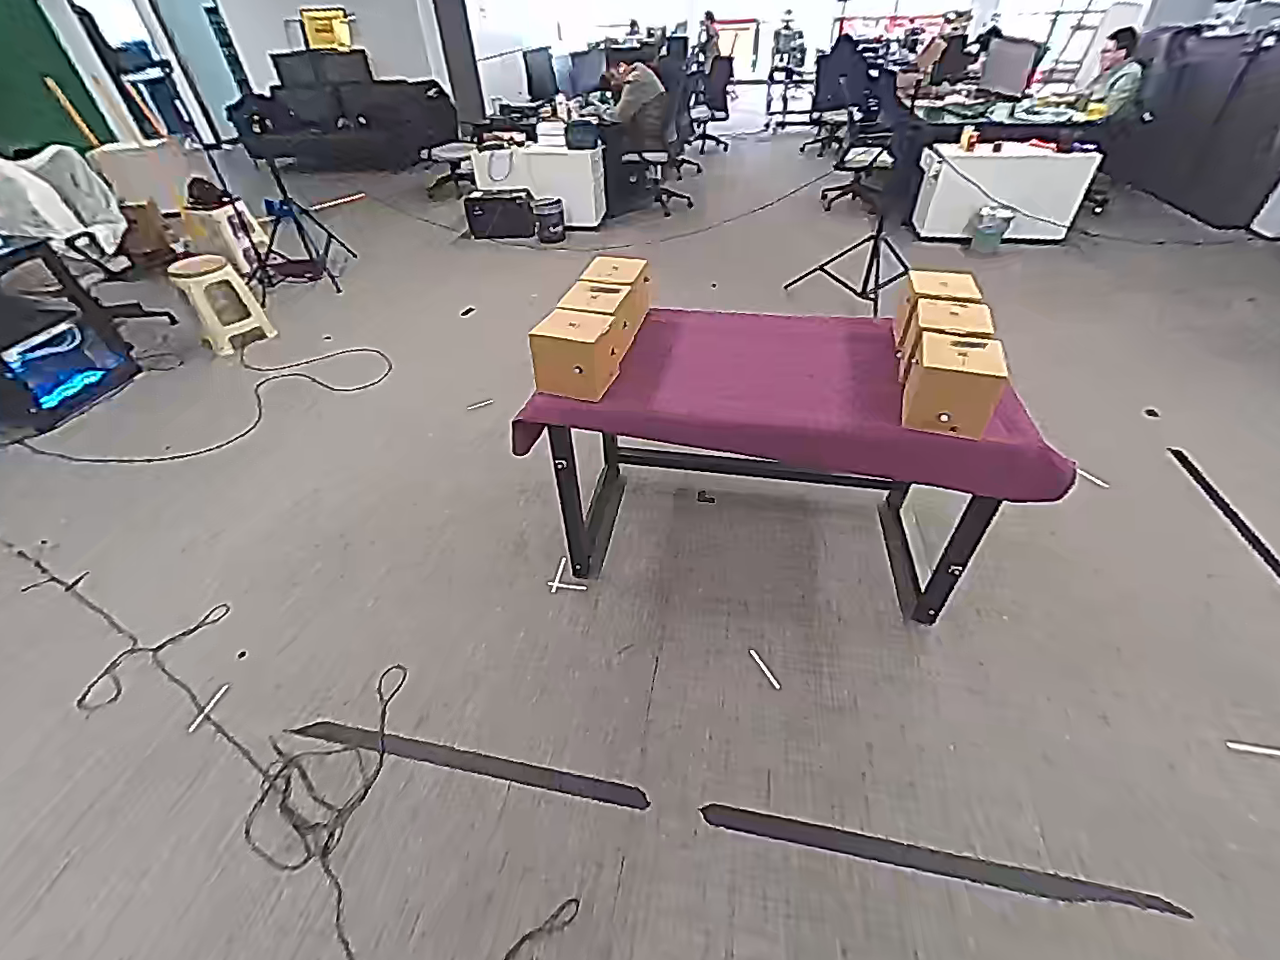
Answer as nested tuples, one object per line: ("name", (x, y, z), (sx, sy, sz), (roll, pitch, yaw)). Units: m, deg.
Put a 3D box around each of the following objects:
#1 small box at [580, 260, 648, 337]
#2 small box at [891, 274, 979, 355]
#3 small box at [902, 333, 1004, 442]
("small box", (-0.076, -0.565, 1.680), (0.168, 0.176, 0.179), (9, 44, 12))
("small box", (0.826, -0.465, 1.534), (0.168, 0.176, 0.179), (9, 42, 12))
("small box", (0.722, -0.217, 1.258), (0.168, 0.176, 0.179), (13, 47, 20))
